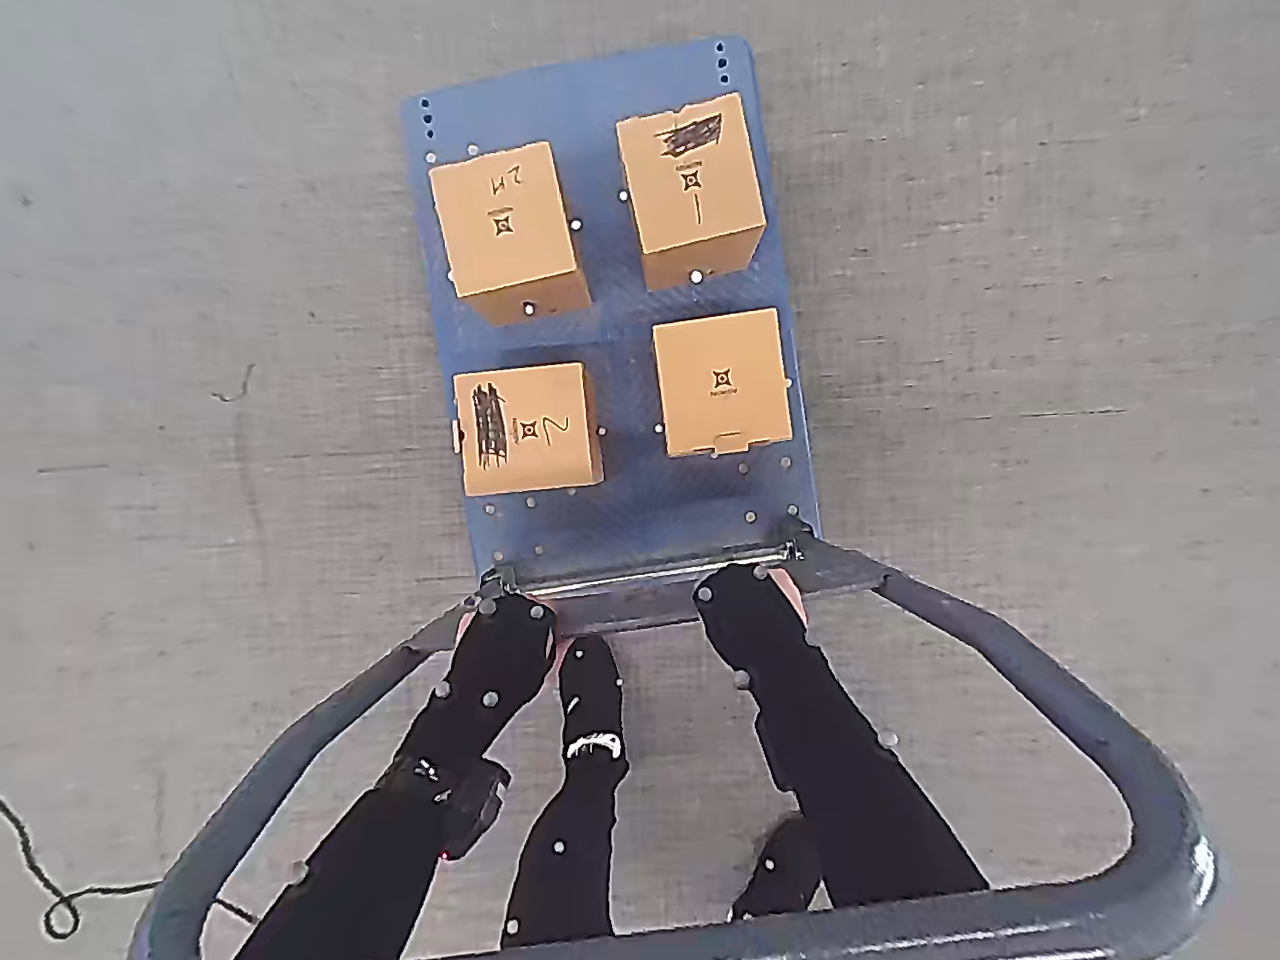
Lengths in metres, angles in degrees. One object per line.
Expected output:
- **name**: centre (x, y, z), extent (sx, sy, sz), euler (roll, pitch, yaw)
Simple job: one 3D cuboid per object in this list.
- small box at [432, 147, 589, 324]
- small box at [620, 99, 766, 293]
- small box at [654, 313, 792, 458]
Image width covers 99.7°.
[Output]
- **small box**: centre (-0.177, -0.339, 0.792), extent (0.168, 0.176, 0.179), euler (-12, 91, 2)
- **small box**: centre (0.070, -0.394, 0.781), extent (0.168, 0.176, 0.179), euler (-12, 93, 3)
- **small box**: centre (0.111, -0.127, 0.791), extent (0.168, 0.176, 0.179), euler (-8, 92, 2)
